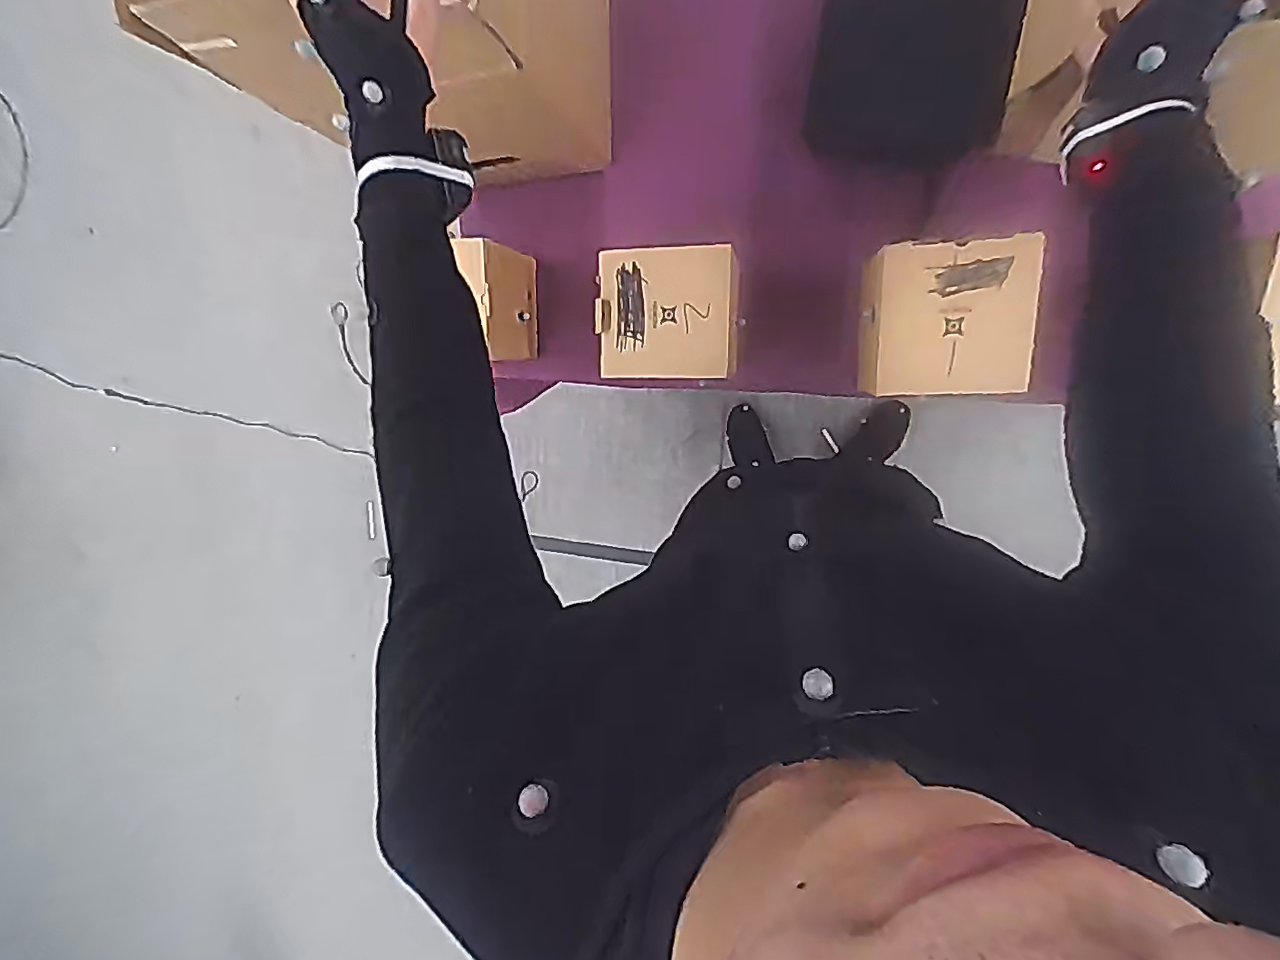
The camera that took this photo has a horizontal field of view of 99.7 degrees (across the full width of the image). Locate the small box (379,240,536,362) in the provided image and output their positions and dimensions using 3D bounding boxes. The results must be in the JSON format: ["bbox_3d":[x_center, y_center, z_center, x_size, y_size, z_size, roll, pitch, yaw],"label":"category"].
[{"bbox_3d":[-0.279,-0.274,0.857,0.179,0.176,0.168,4,103,12],"label":"small box"}]

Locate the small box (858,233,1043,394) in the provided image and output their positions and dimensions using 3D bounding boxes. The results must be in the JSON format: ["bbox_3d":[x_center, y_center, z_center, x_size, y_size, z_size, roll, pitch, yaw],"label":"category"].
[{"bbox_3d":[0.383,-0.204,0.701,0.168,0.176,0.179,1,103,15],"label":"small box"}]
